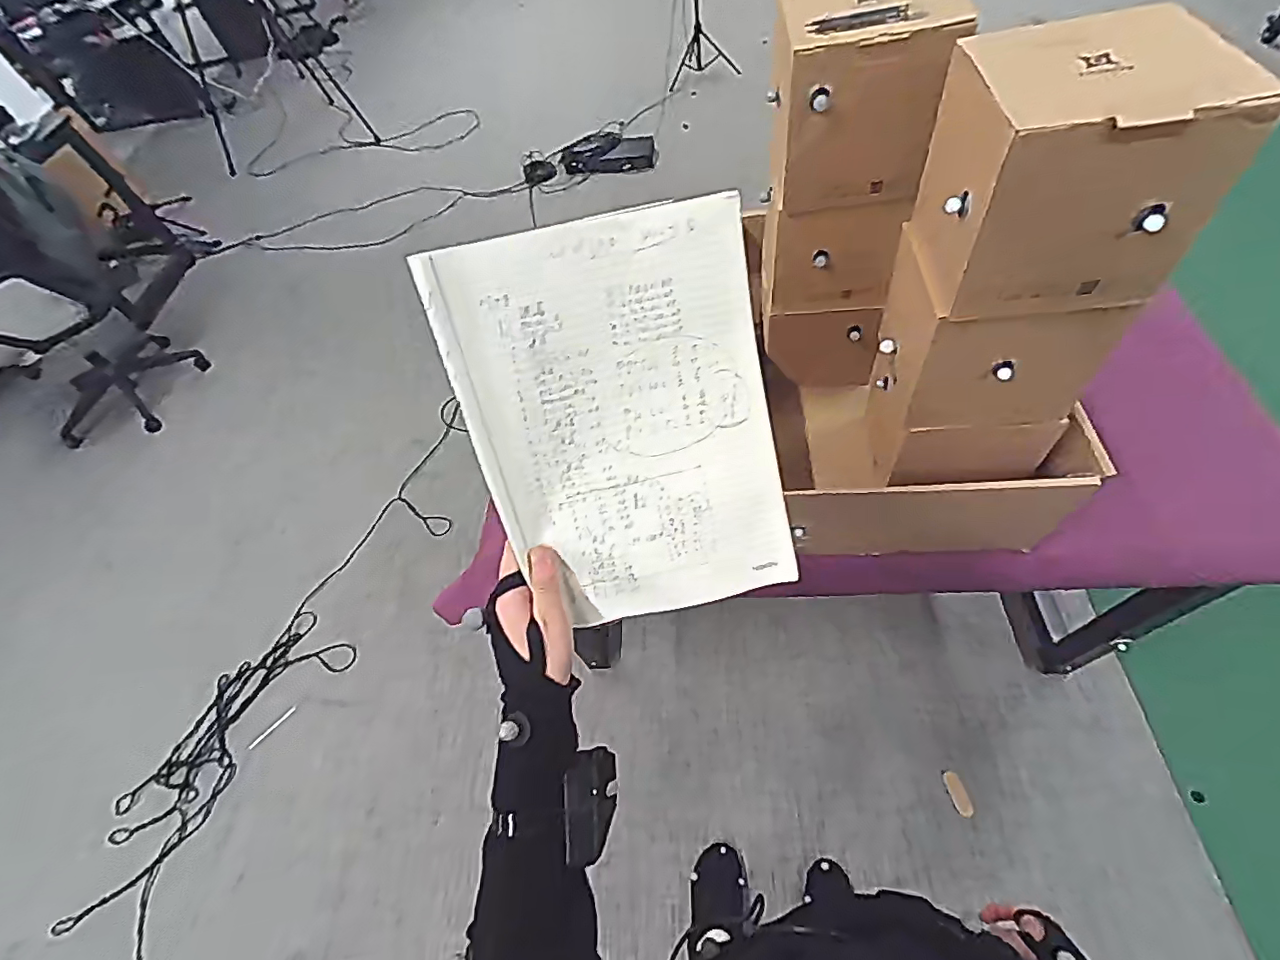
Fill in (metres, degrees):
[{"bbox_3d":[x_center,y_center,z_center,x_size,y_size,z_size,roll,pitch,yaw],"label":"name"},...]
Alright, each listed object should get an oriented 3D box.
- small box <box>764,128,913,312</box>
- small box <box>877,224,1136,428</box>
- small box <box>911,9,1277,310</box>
[{"bbox_3d":[0.264,-0.354,0.761,0.168,0.176,0.179,-2,57,10],"label":"small box"},{"bbox_3d":[0.383,-0.175,0.608,0.179,0.176,0.168,-3,54,12],"label":"small box"},{"bbox_3d":[0.356,-0.266,0.476,0.168,0.176,0.179,-2,54,11],"label":"small box"}]
